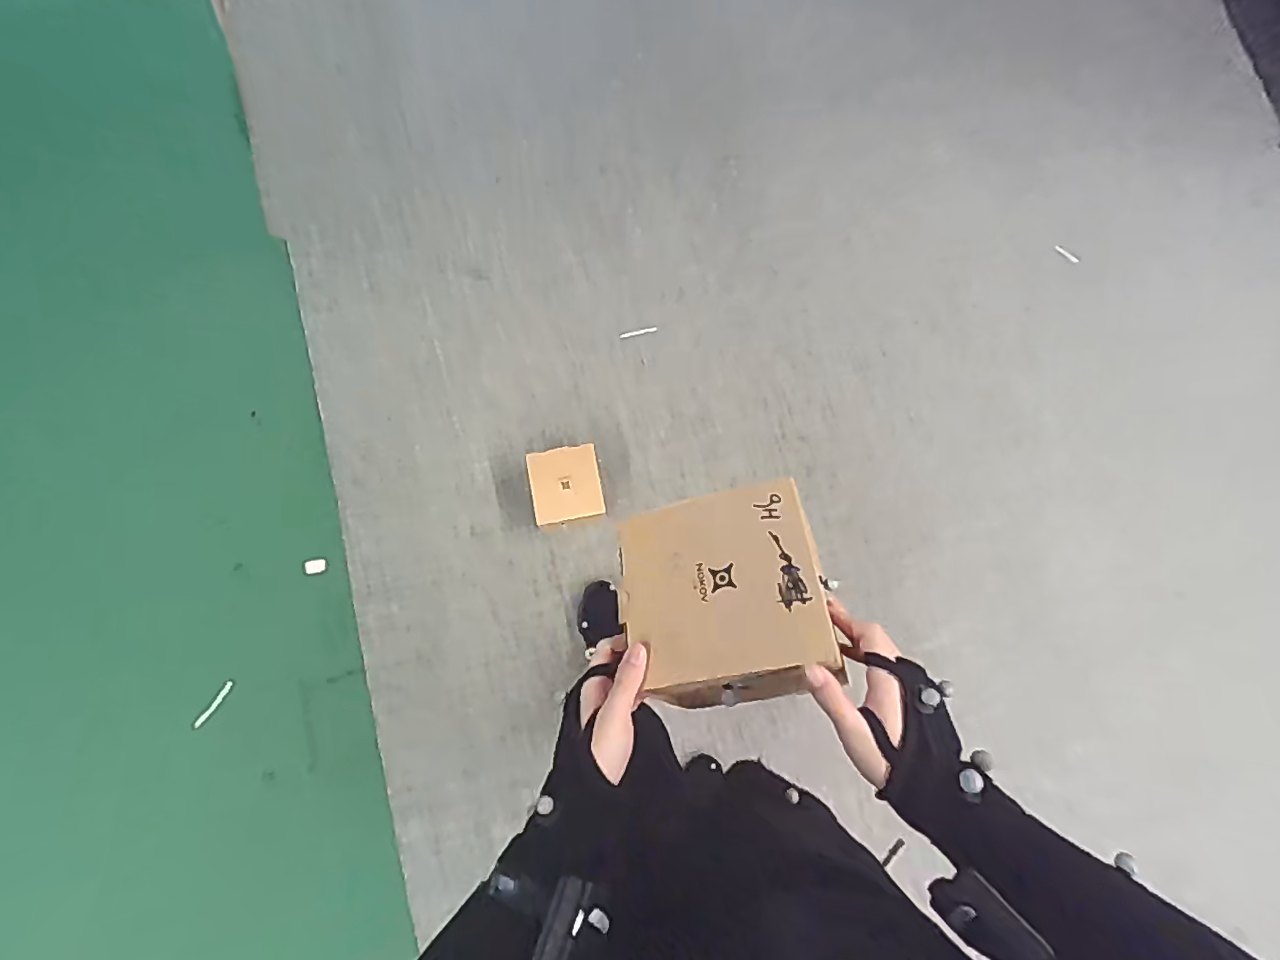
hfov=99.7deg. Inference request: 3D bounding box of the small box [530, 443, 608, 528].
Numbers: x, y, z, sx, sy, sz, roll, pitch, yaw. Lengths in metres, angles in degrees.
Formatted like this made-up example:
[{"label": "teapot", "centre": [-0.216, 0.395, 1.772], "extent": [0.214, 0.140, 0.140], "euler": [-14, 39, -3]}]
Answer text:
[{"label": "small box", "centre": [-0.174, 0.022, 1.367], "extent": [0.168, 0.176, 0.179], "euler": [-10, 80, -7]}]
